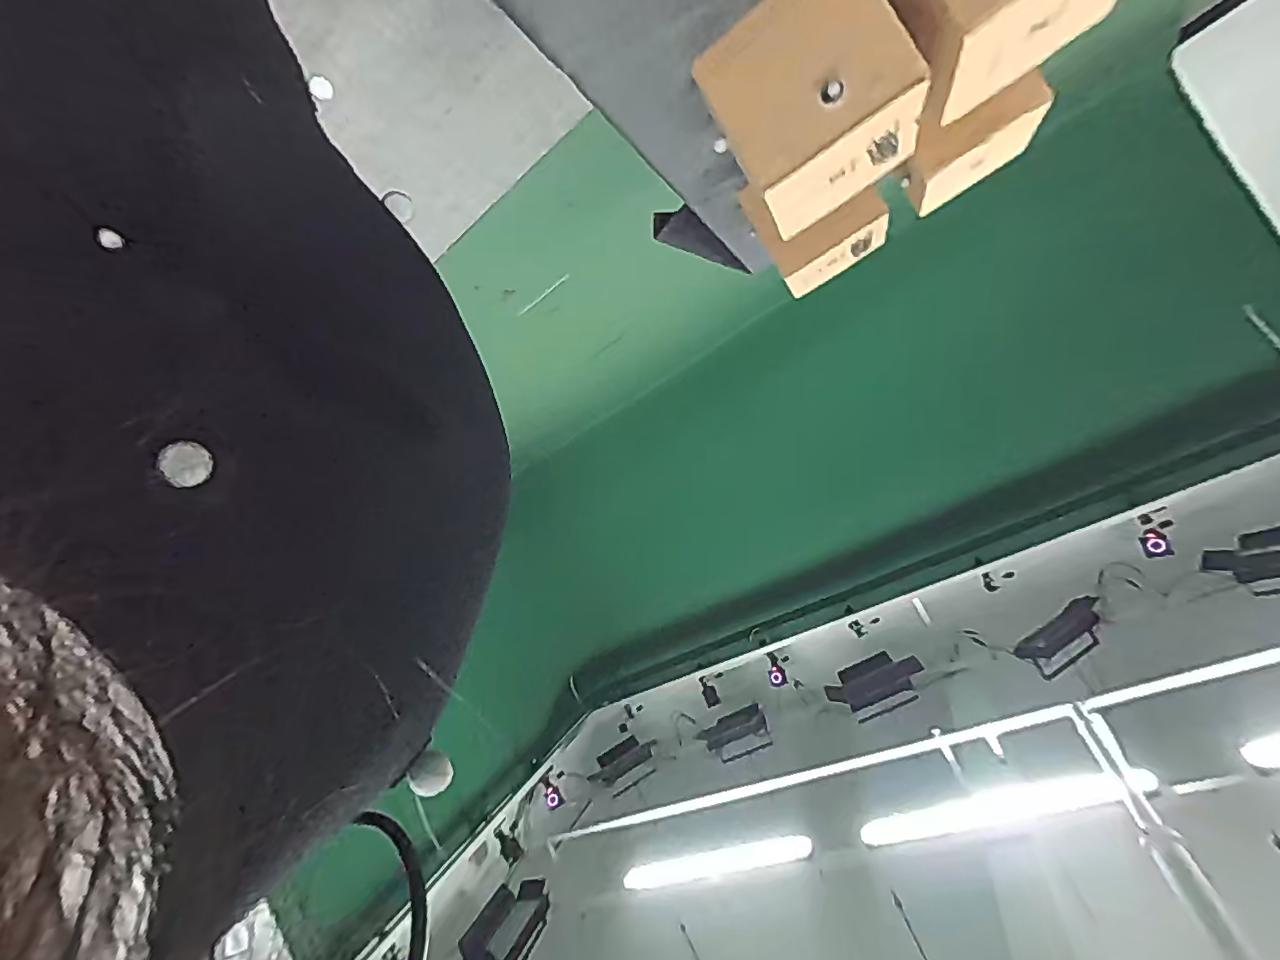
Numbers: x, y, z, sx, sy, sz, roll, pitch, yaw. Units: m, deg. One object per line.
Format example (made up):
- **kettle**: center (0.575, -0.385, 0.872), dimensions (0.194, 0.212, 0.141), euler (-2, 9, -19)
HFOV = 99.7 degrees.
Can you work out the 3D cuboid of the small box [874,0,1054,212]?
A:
- **small box**: center (0.472, -0.554, 0.818), dimensions (0.168, 0.176, 0.179), euler (-30, 175, 25)
